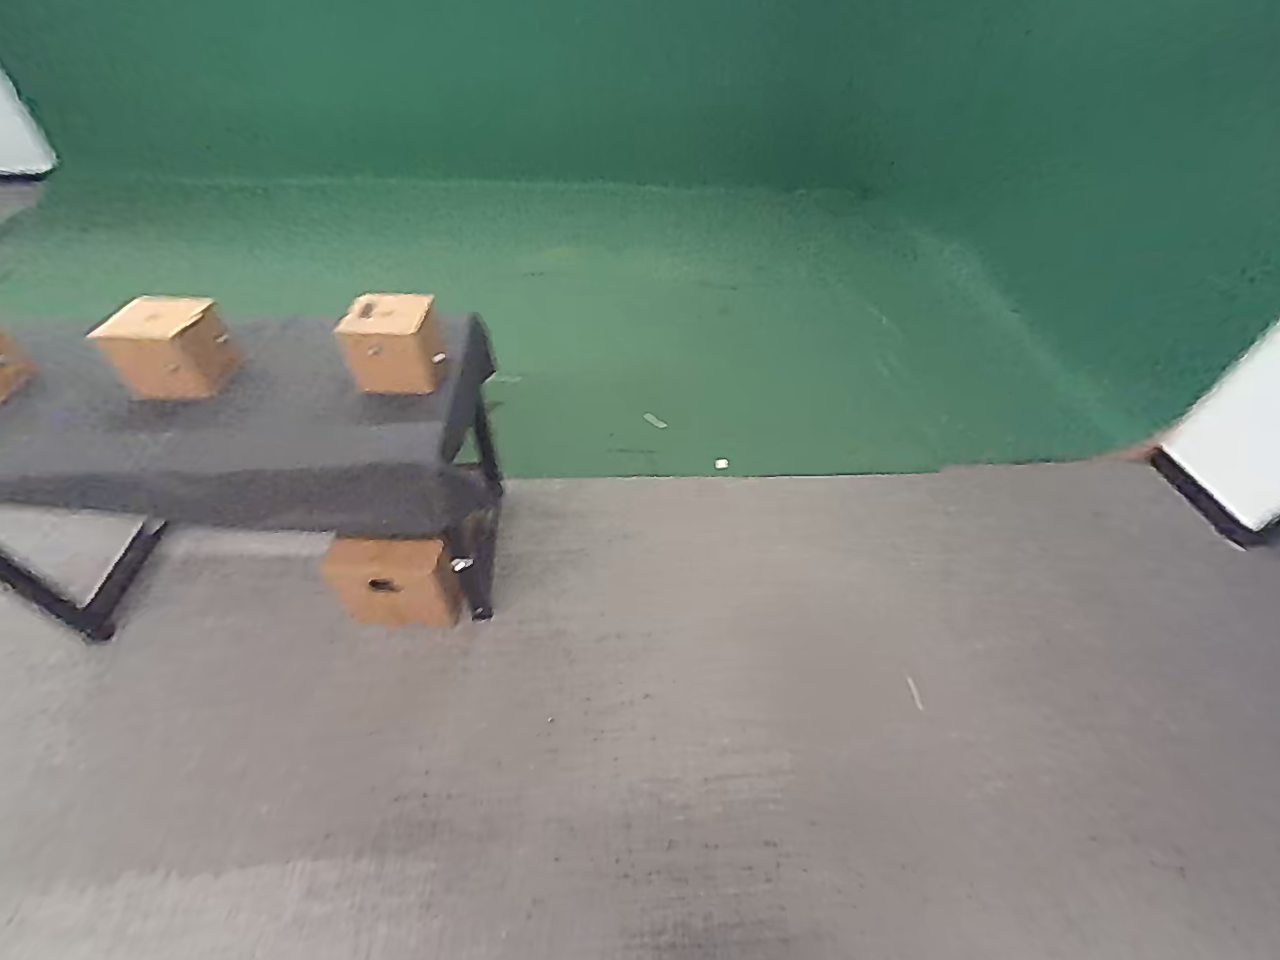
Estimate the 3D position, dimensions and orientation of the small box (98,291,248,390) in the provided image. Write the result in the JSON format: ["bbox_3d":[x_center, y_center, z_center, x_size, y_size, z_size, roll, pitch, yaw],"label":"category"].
[{"bbox_3d":[-1.076,-0.325,1.269,0.179,0.176,0.168,0,46,-1],"label":"small box"}]

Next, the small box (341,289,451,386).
[{"bbox_3d":[-0.576,-0.341,1.303,0.179,0.176,0.168,2,47,-2],"label":"small box"}]

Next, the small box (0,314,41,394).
[{"bbox_3d":[-1.533,-0.289,1.210,0.179,0.176,0.168,-4,47,-8],"label":"small box"}]
